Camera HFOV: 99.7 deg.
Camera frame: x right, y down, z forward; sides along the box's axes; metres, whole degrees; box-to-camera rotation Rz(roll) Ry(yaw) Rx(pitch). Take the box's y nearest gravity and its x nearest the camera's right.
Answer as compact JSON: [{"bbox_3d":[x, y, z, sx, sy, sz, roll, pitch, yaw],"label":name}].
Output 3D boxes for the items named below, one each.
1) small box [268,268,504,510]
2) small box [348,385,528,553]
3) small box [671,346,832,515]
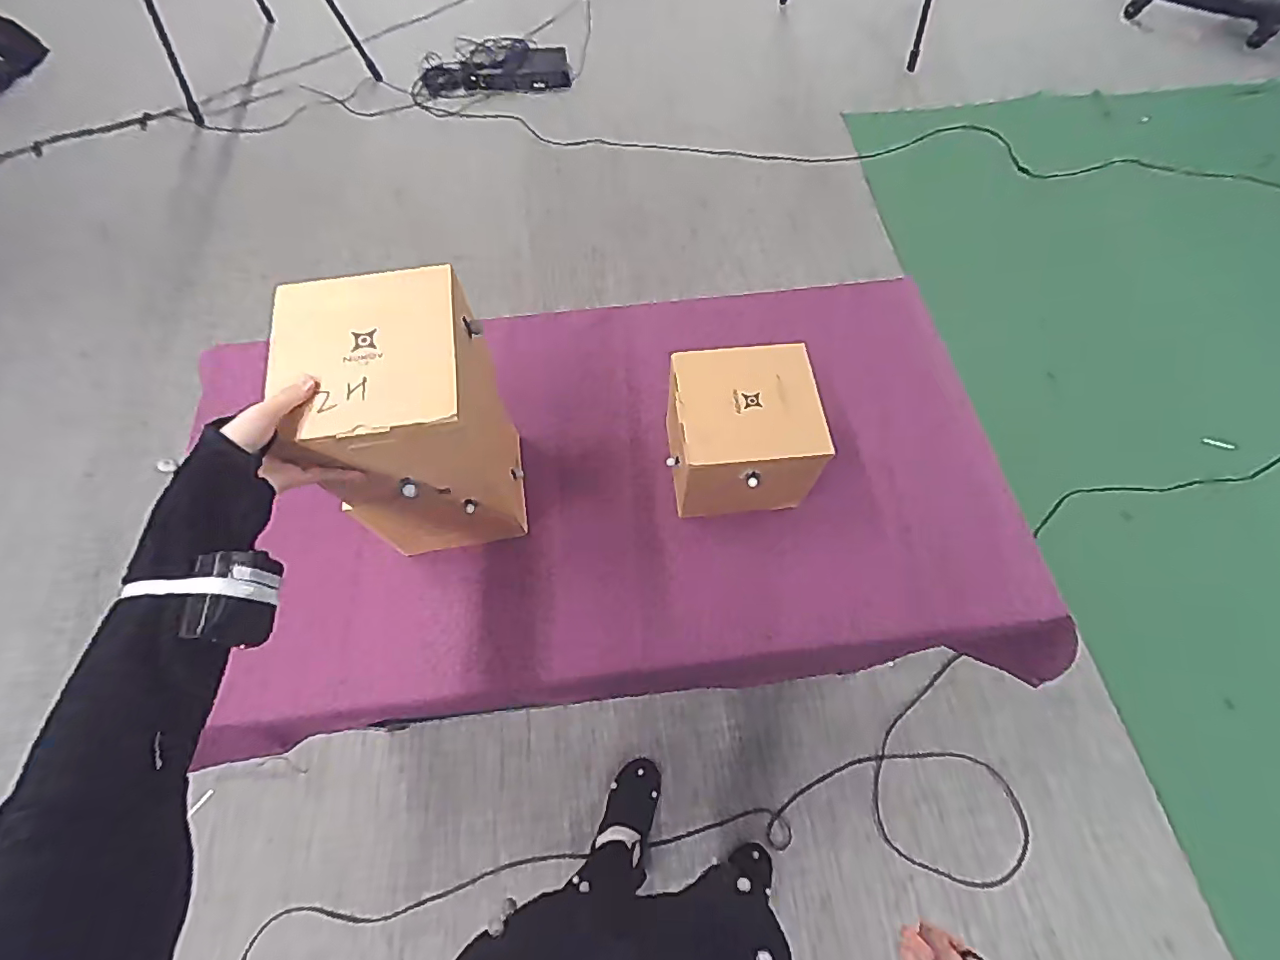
[{"bbox_3d":[-0.248,-0.087,0.568,0.168,0.176,0.179,-10,68,-3],"label":"small box"},{"bbox_3d":[-0.258,-0.014,0.721,0.179,0.176,0.168,-10,64,-5],"label":"small box"},{"bbox_3d":[0.135,-0.059,0.735,0.179,0.176,0.168,-4,64,-2],"label":"small box"}]
